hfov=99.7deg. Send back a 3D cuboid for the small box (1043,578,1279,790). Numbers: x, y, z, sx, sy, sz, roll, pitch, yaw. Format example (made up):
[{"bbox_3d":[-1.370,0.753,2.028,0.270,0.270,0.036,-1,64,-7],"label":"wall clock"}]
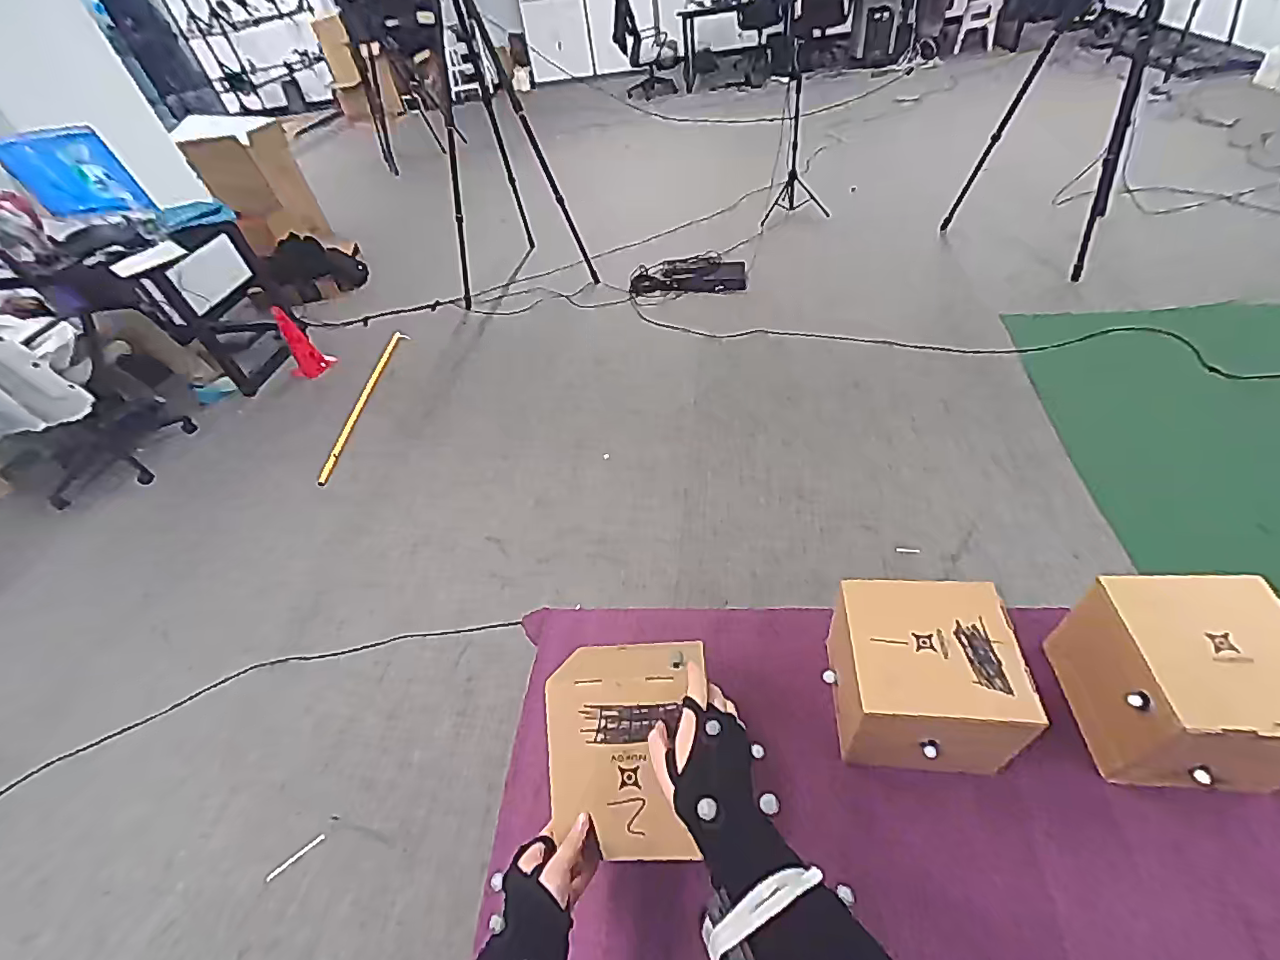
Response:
[{"bbox_3d":[0.608,0.230,0.617,0.168,0.176,0.179,-2,47,9],"label":"small box"}]

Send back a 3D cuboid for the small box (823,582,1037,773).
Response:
[{"bbox_3d":[0.329,0.241,0.658,0.179,0.176,0.168,-1,46,11],"label":"small box"}]
